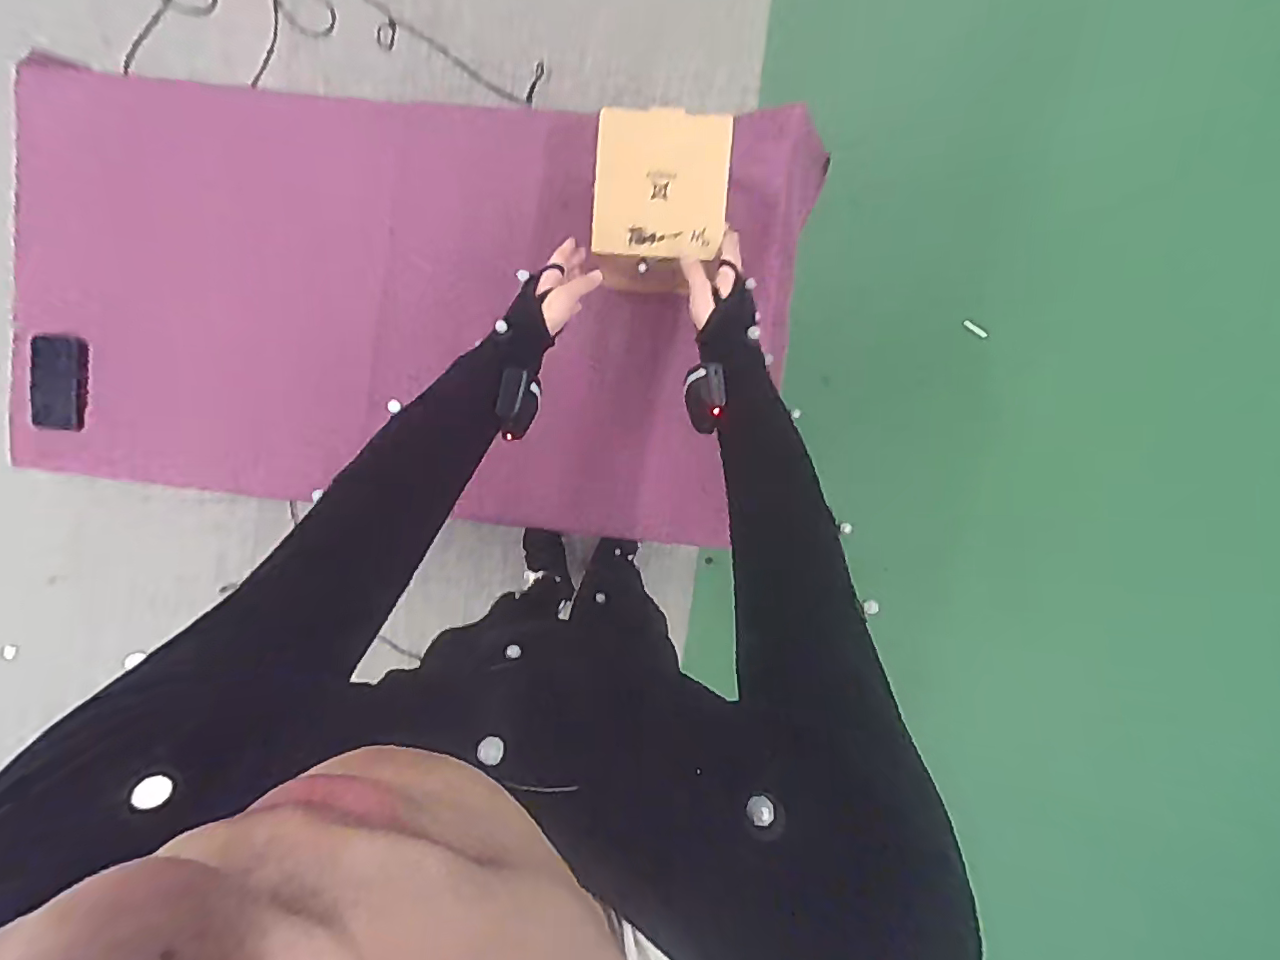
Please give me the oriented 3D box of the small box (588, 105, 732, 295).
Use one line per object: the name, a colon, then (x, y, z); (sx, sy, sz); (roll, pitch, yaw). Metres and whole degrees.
small box: (0.026, -0.371, 0.743); (0.168, 0.176, 0.179); (5, 94, 2)
